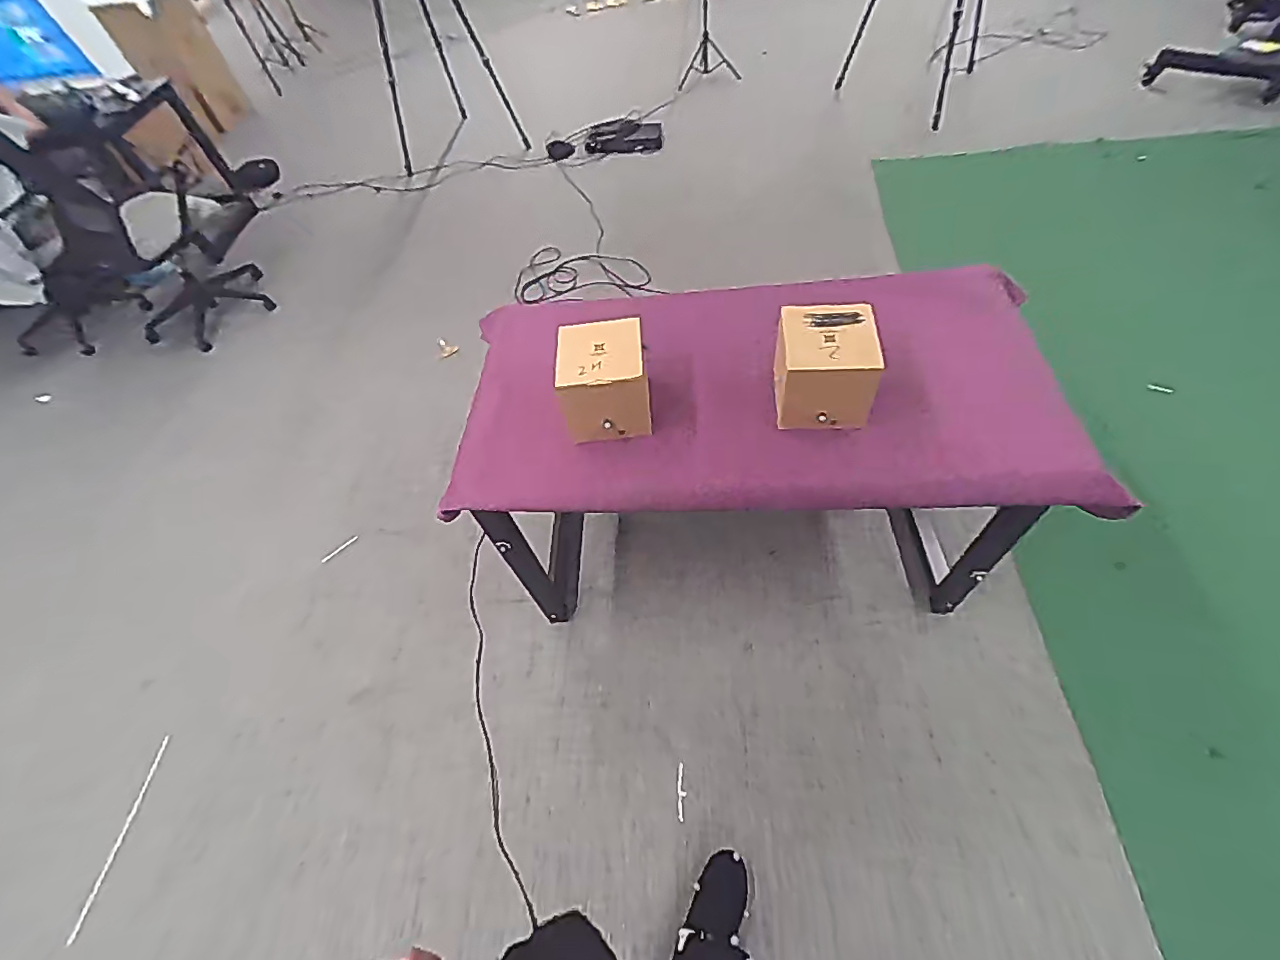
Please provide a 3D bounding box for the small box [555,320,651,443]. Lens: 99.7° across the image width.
[{"bbox_3d":[-0.067,-0.196,1.094,0.168,0.176,0.179,-5,54,4],"label":"small box"}]
